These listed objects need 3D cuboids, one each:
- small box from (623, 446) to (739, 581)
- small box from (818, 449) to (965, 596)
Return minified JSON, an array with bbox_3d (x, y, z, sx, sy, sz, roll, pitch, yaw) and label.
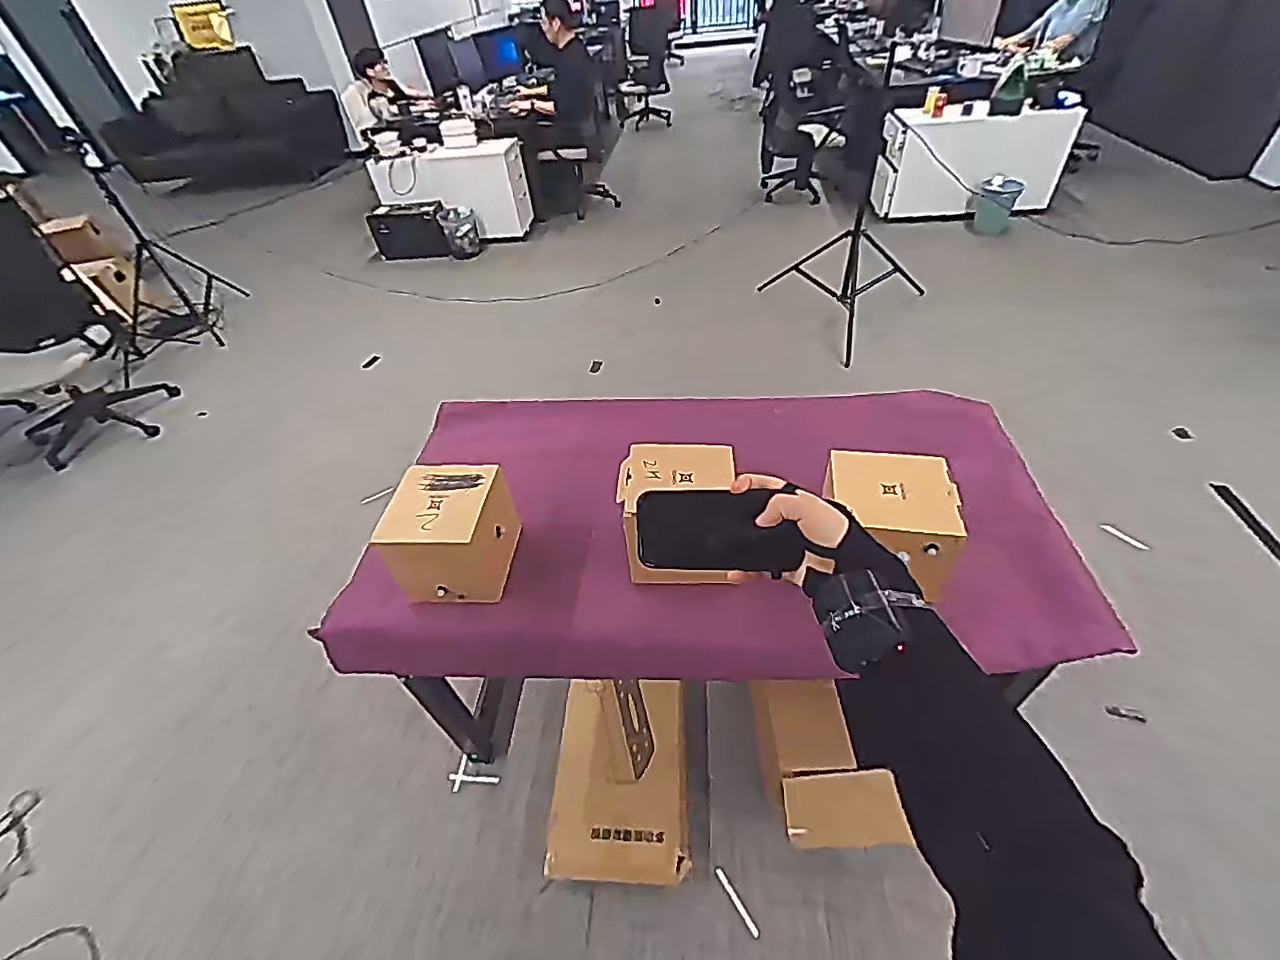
[{"bbox_3d":[0.071,0.058,0.918,0.179,0.176,0.168,-1,42,6],"label":"small box"},{"bbox_3d":[0.385,0.069,0.869,0.179,0.176,0.168,4,45,11],"label":"small box"}]
